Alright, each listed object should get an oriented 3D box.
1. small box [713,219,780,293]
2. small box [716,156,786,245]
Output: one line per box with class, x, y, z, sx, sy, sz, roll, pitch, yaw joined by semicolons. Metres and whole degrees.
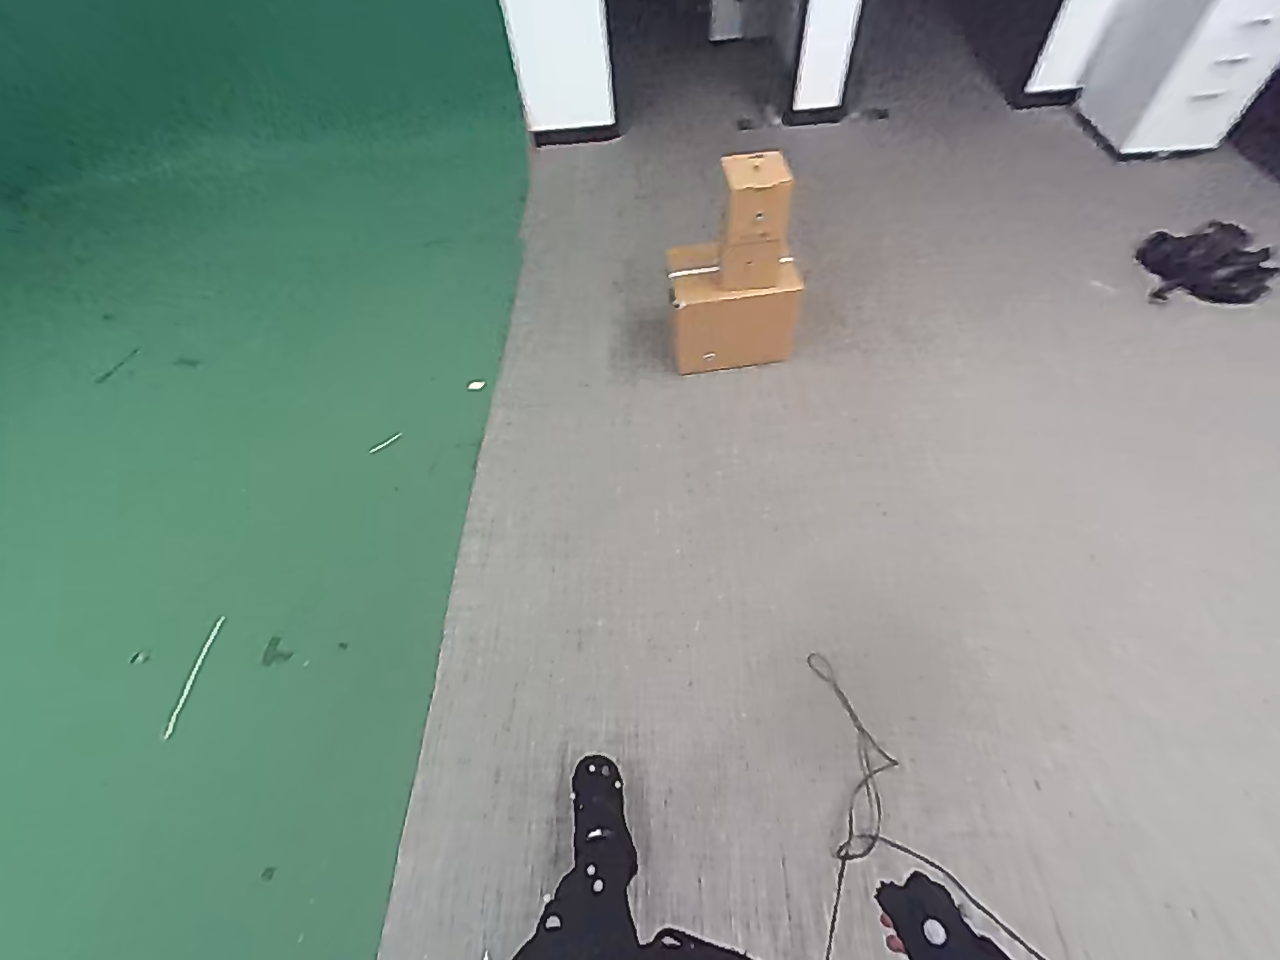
small box;0.328;-0.712;1.704;0.179;0.176;0.168;-5;56;2
small box;0.315;-0.803;1.569;0.168;0.176;0.179;-6;56;1
